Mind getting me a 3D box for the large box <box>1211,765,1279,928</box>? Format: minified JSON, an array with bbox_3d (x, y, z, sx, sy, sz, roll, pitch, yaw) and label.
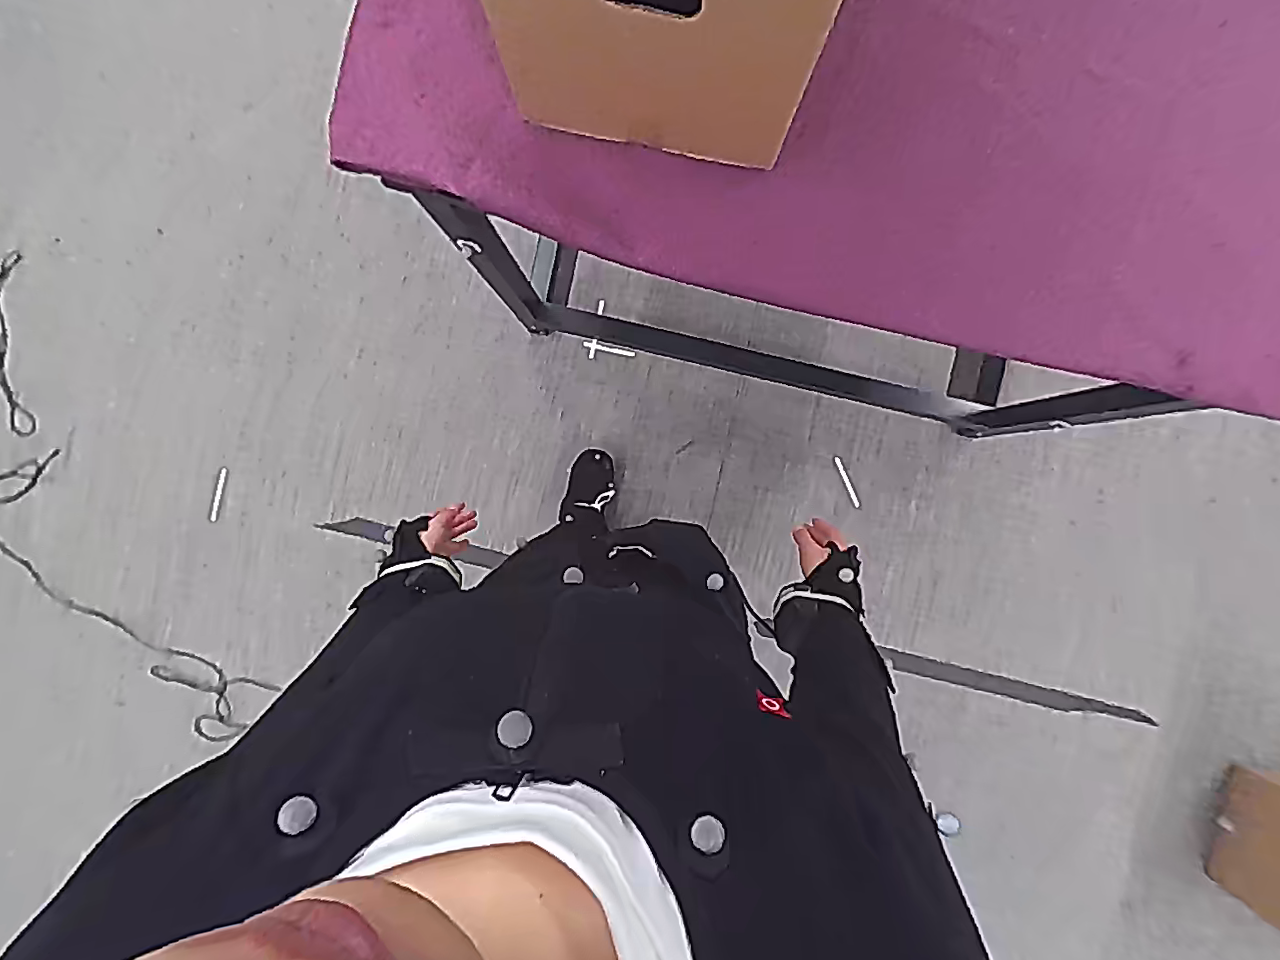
[{"bbox_3d":[1.667,0.905,1.217,0.408,0.320,0.320,12,91,2],"label":"large box"}]
